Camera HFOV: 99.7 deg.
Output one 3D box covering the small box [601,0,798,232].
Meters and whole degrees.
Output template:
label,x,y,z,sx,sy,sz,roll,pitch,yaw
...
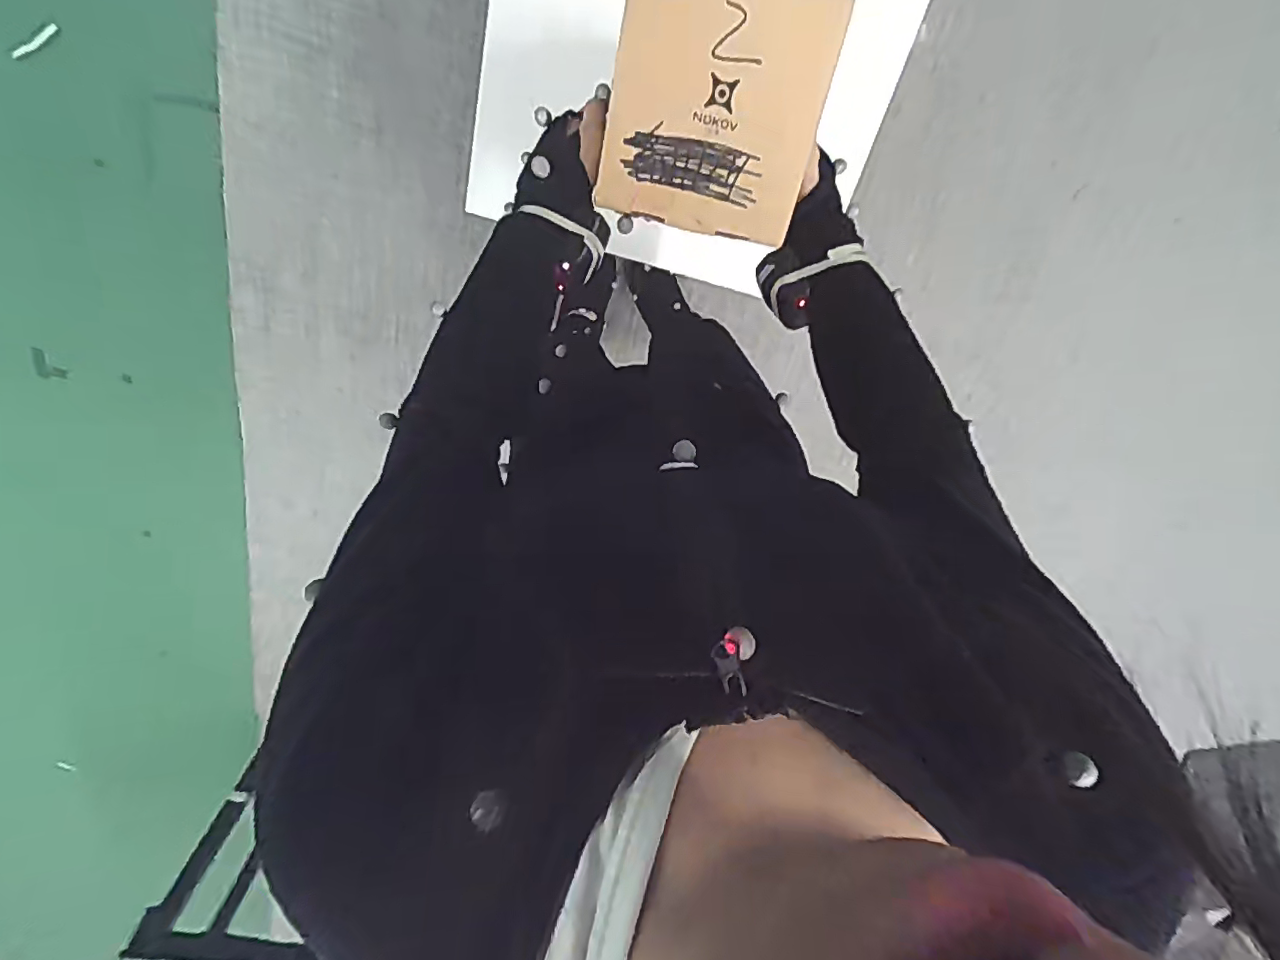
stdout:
label,x,y,z,sx,sy,sz,roll,pitch,yaw
small box,0.052,-0.401,0.623,0.168,0.176,0.179,12,114,-9
